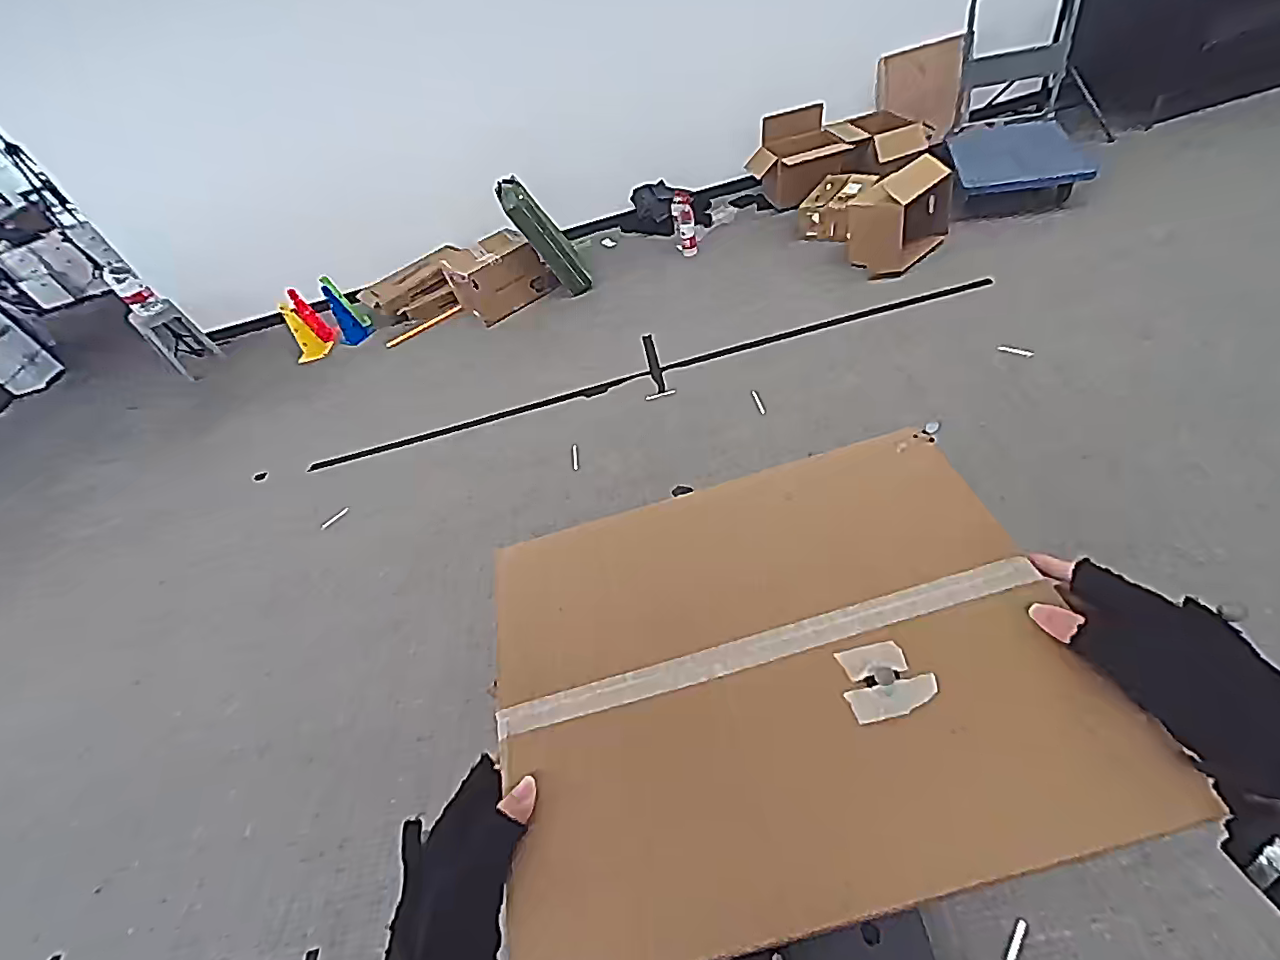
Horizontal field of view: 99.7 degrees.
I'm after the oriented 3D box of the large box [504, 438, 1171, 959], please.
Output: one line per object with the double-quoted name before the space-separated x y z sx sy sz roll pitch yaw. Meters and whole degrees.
"large box" 0.120 0.221 0.525 0.408 0.320 0.320 -17 50 1
